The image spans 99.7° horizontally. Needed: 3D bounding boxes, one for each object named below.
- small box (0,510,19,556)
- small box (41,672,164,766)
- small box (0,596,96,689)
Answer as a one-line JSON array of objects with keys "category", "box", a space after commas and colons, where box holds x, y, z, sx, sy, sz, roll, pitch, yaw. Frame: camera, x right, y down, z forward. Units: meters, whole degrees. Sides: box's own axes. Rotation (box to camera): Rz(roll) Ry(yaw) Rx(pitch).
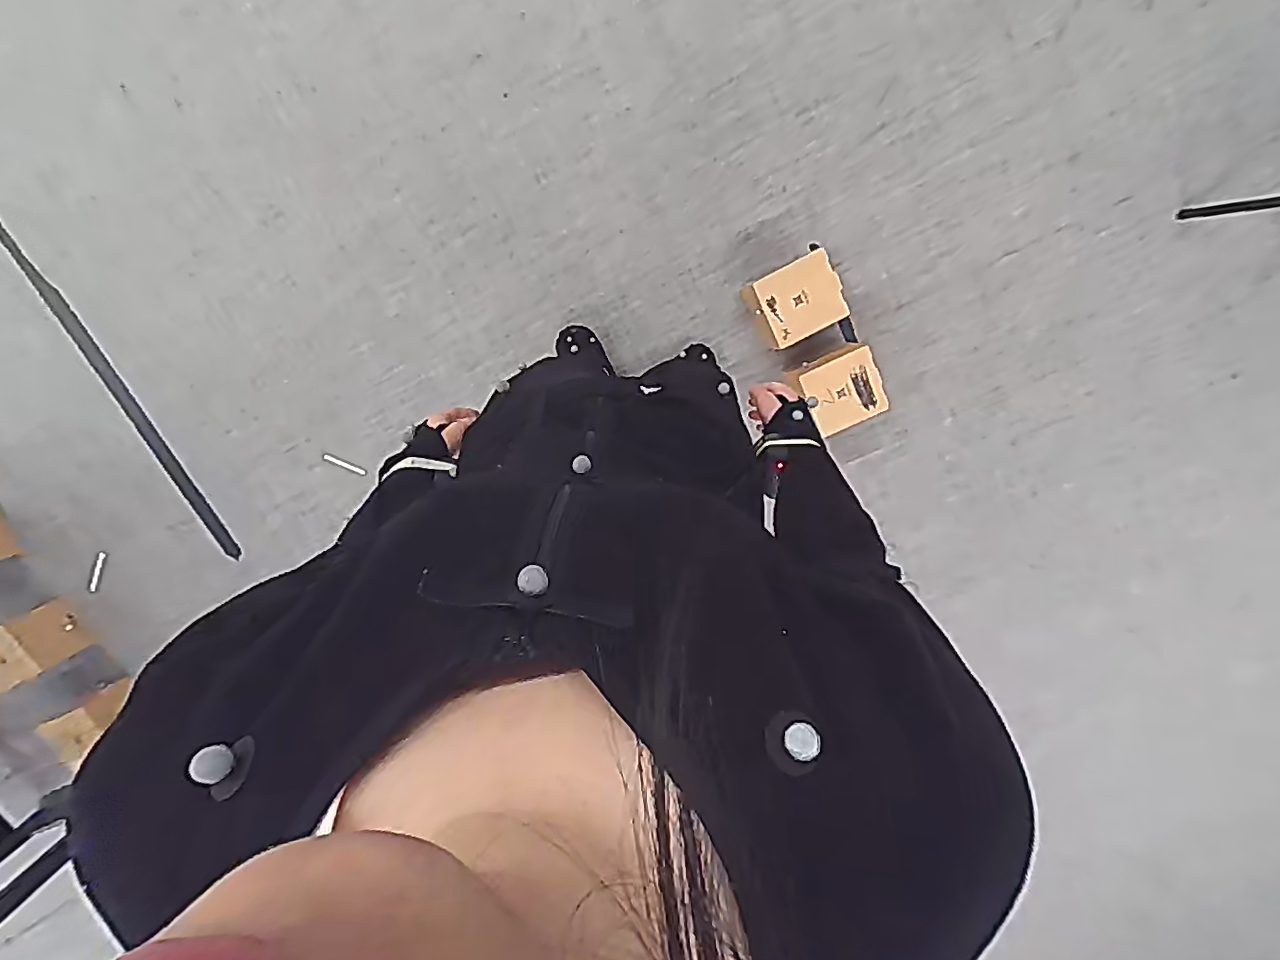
[{"category": "small box", "box": [-1.927, 0.155, 1.504, 0.168, 0.176, 0.179, -8, 107, 3]}, {"category": "small box", "box": [-1.642, 0.730, 1.665, 0.168, 0.176, 0.179, -22, 104, 6]}, {"category": "small box", "box": [-1.789, 0.473, 1.592, 0.179, 0.176, 0.168, -25, 104, 7]}]
